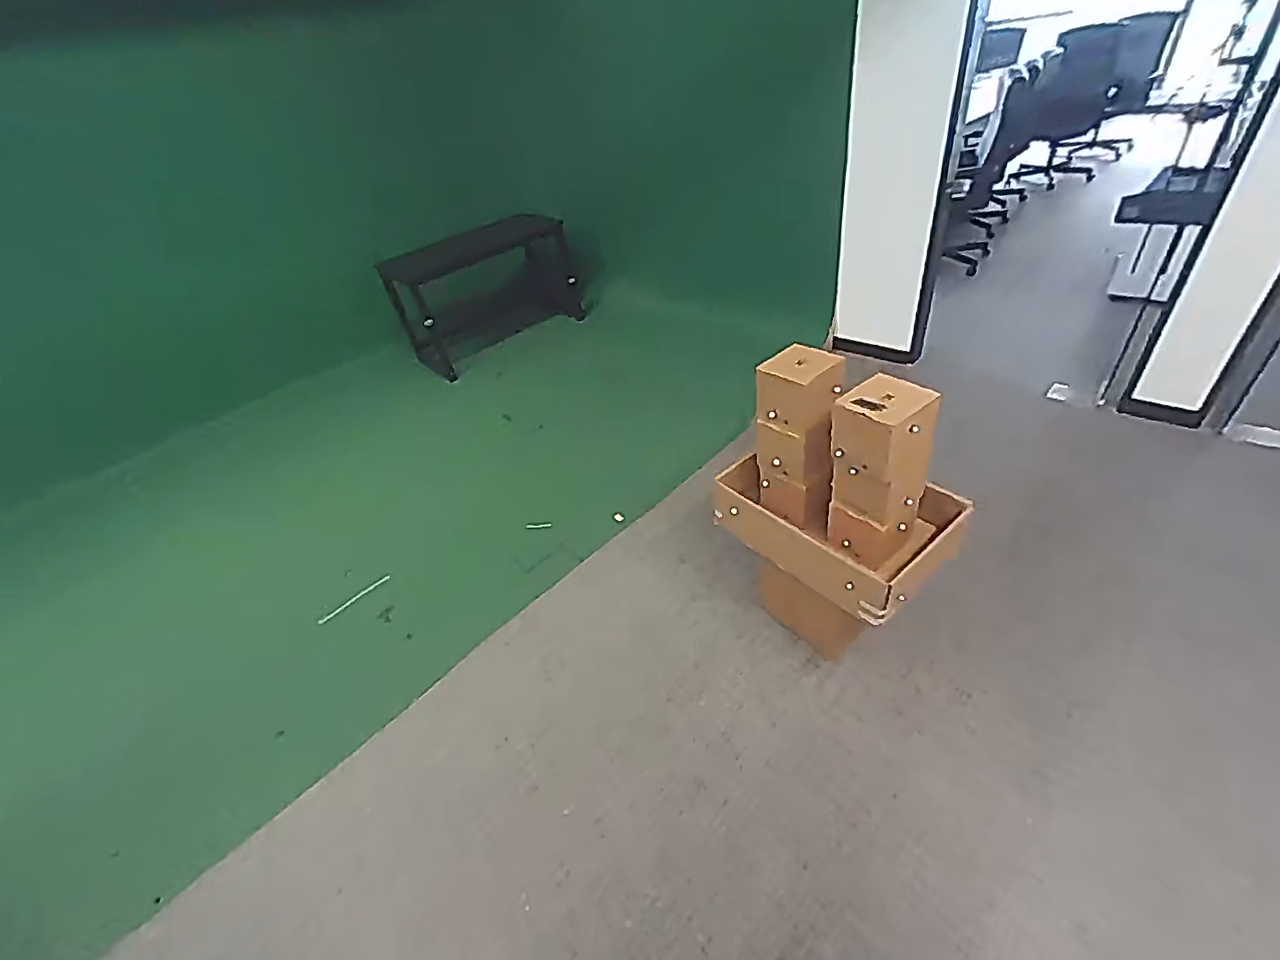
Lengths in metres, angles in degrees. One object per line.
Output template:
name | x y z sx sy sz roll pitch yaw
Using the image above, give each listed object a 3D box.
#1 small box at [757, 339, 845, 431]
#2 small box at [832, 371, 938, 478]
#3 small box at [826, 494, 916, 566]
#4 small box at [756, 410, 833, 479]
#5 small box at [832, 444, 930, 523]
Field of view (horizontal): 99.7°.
small box | 0.439 -0.264 1.499 0.179 0.176 0.168 -33 45 -25
small box | 0.589 -0.135 1.319 0.179 0.176 0.168 -31 44 -21
small box | 0.645 0.108 1.534 0.179 0.176 0.168 -34 45 -23
small box | 0.457 -0.134 1.597 0.179 0.176 0.168 -35 46 -26
small box | 0.628 -0.020 1.433 0.179 0.176 0.168 -31 44 -23
